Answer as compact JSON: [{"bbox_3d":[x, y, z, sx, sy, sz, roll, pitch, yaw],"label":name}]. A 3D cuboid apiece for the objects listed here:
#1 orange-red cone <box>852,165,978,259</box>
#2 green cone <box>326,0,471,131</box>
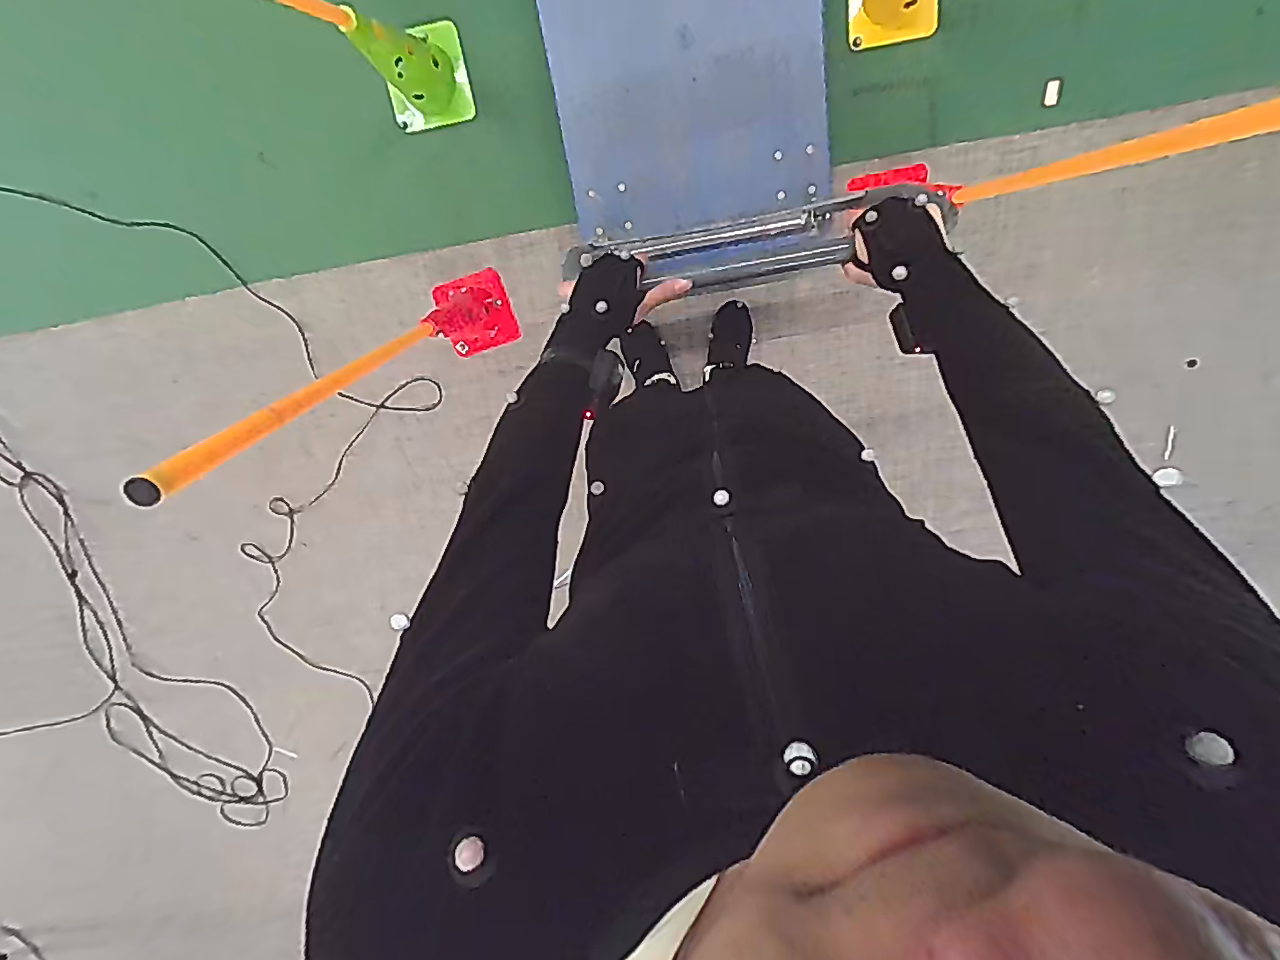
[{"bbox_3d":[0.631,-0.612,1.199,0.198,0.360,0.199,-9,109,4],"label":"orange-red cone"},{"bbox_3d":[-0.522,-0.896,1.121,0.200,0.368,0.202,-8,110,6],"label":"green cone"}]
